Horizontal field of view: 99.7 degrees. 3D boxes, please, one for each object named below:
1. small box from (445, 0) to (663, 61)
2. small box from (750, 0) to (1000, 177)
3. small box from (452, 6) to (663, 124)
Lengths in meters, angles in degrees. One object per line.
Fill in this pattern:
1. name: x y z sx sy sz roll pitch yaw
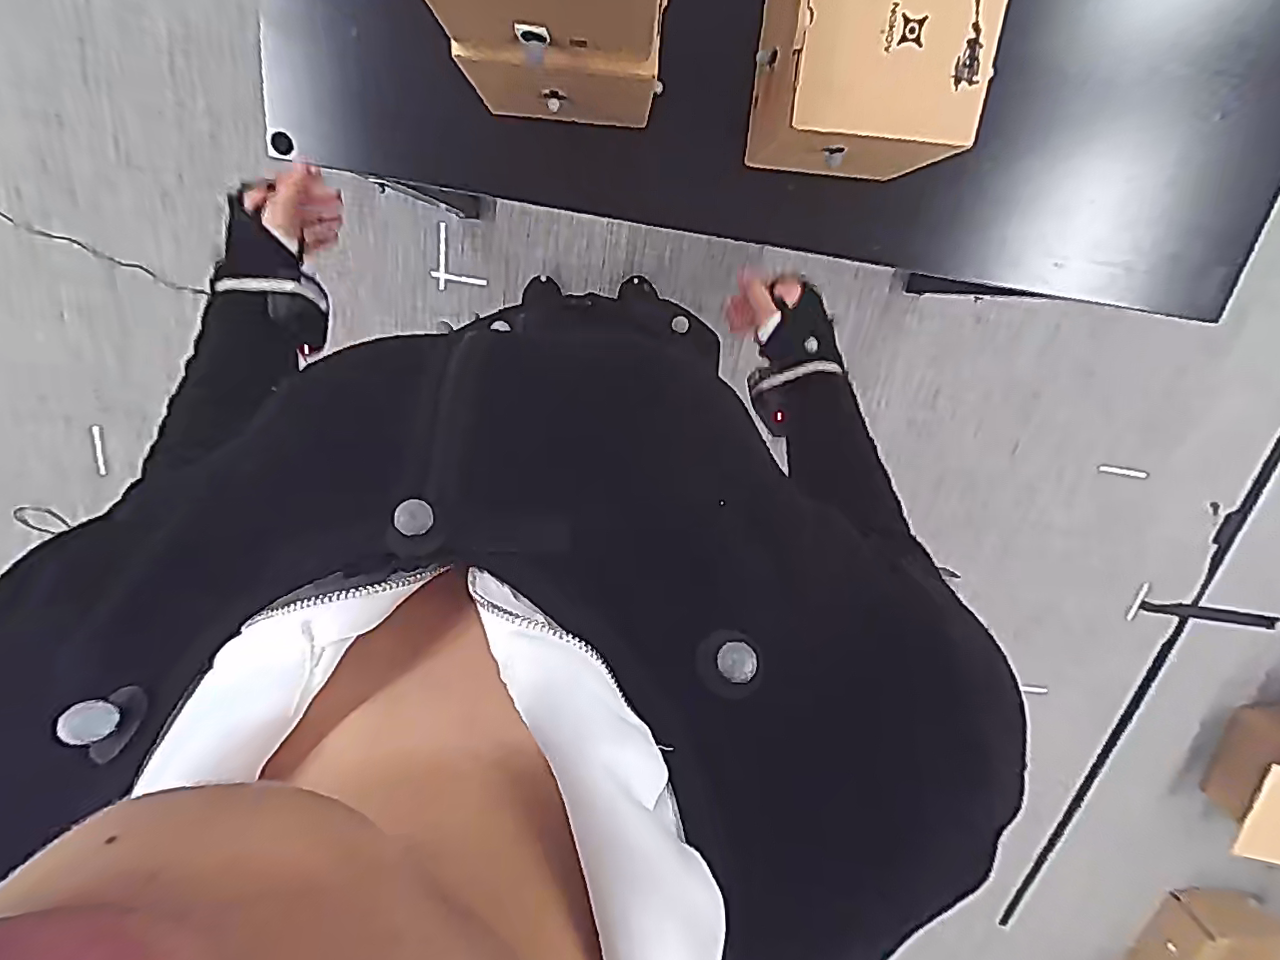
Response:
1. small box: -0.062 -0.415 0.355 0.168 0.176 0.179 1 110 -2
2. small box: 0.218 -0.417 0.543 0.179 0.176 0.168 4 109 -3
3. small box: -0.070 -0.458 0.512 0.179 0.176 0.168 4 109 -3
